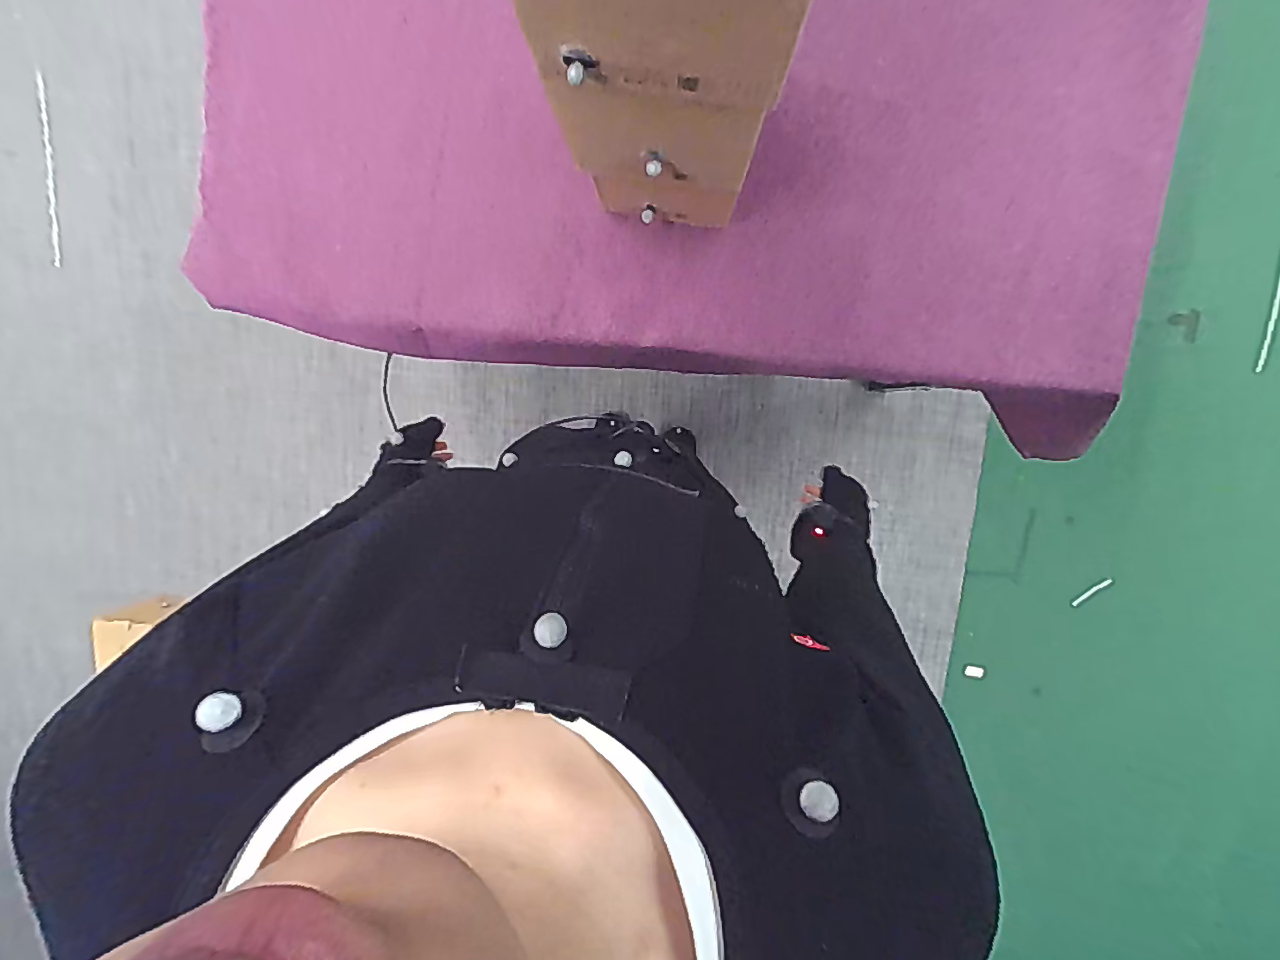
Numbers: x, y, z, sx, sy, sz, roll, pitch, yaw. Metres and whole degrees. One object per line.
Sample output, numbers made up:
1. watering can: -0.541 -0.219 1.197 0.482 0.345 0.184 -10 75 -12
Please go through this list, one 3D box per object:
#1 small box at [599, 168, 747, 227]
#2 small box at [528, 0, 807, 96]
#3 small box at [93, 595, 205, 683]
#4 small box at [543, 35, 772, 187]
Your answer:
1. small box: 0.043 -0.411 0.605 0.168 0.176 0.179 10 98 2
2. small box: 0.022 -0.344 0.284 0.168 0.176 0.179 9 97 2
3. small box: -1.364 0.441 1.514 0.168 0.176 0.179 4 98 2
4. small box: 0.028 -0.375 0.446 0.168 0.176 0.179 8 98 3
